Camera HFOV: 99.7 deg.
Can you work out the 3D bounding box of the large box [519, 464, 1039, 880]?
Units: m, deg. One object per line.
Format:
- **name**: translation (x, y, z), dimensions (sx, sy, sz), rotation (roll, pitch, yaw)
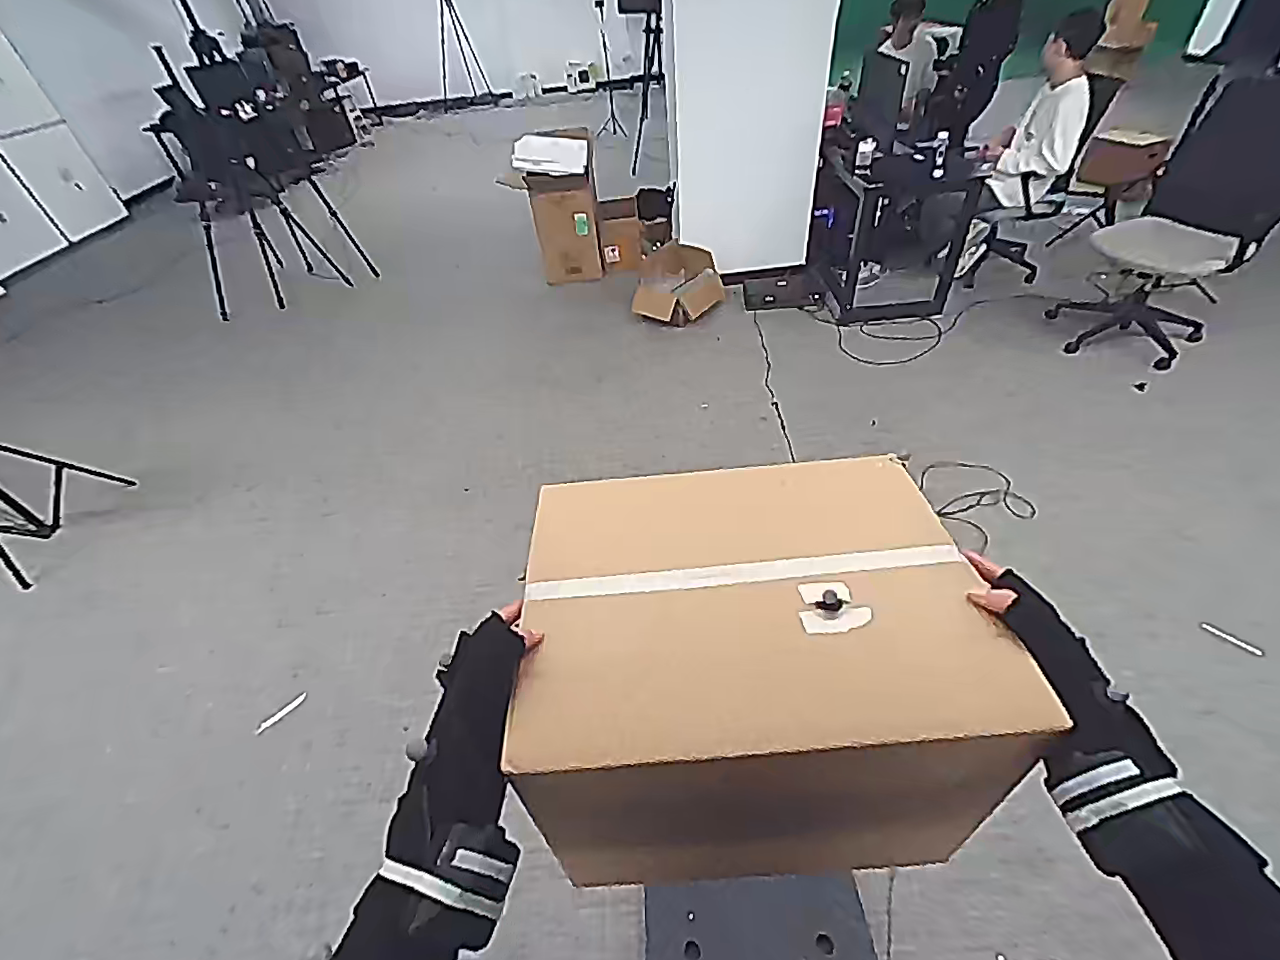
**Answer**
- **large box**: translation (0.107, 0.211, 0.612), dimensions (0.408, 0.320, 0.320), rotation (-5, 41, 1)
